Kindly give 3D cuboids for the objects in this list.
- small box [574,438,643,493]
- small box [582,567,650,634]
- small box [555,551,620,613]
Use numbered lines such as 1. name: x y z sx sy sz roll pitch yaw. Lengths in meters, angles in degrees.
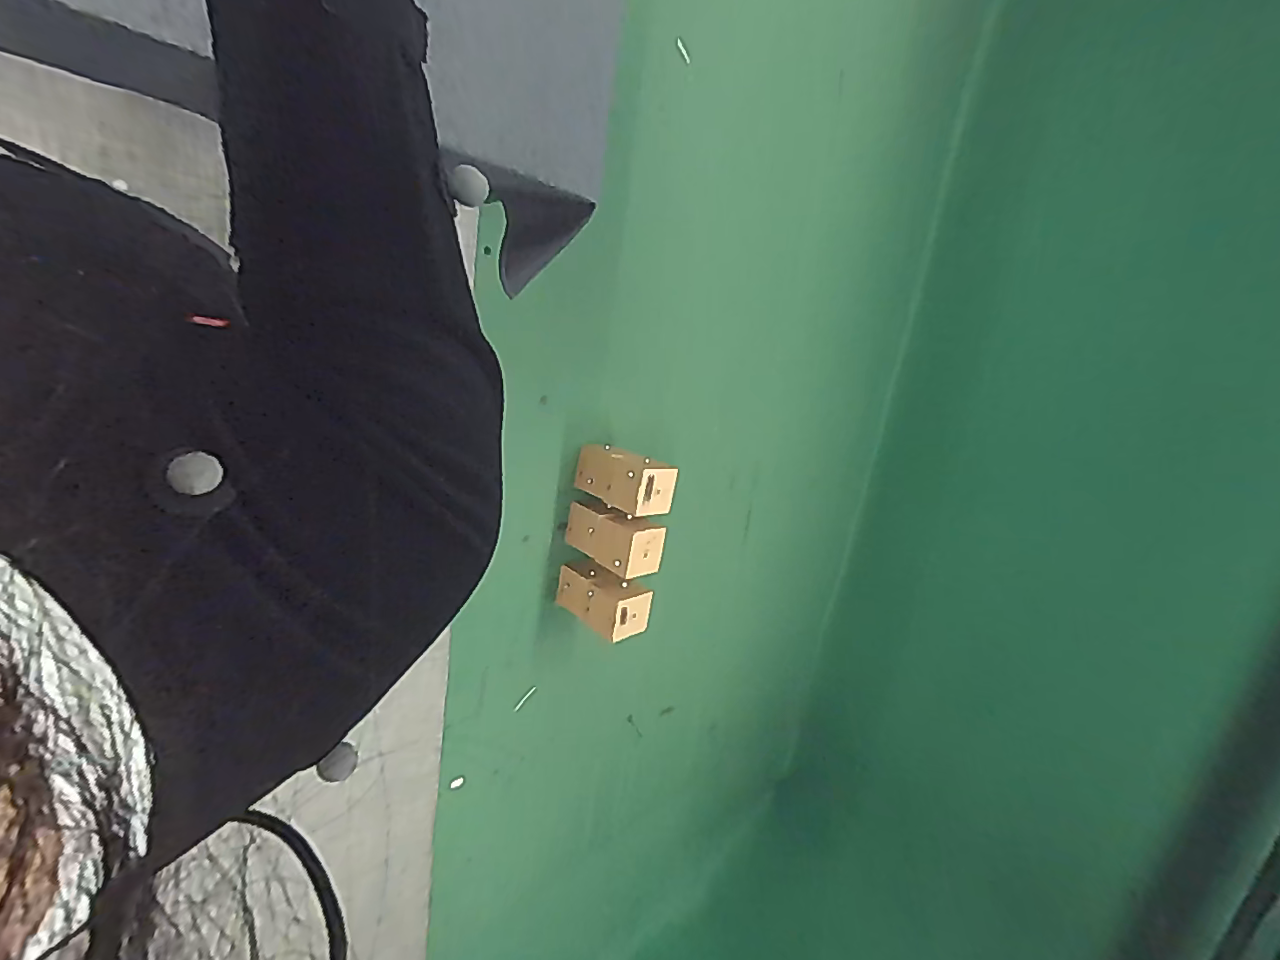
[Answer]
1. small box: -0.120 -0.055 1.998 0.179 0.176 0.168 1 106 -46
2. small box: -0.092 0.438 1.996 0.179 0.176 0.168 -6 112 -44
3. small box: -0.204 0.390 2.105 0.179 0.176 0.168 -5 111 -44
